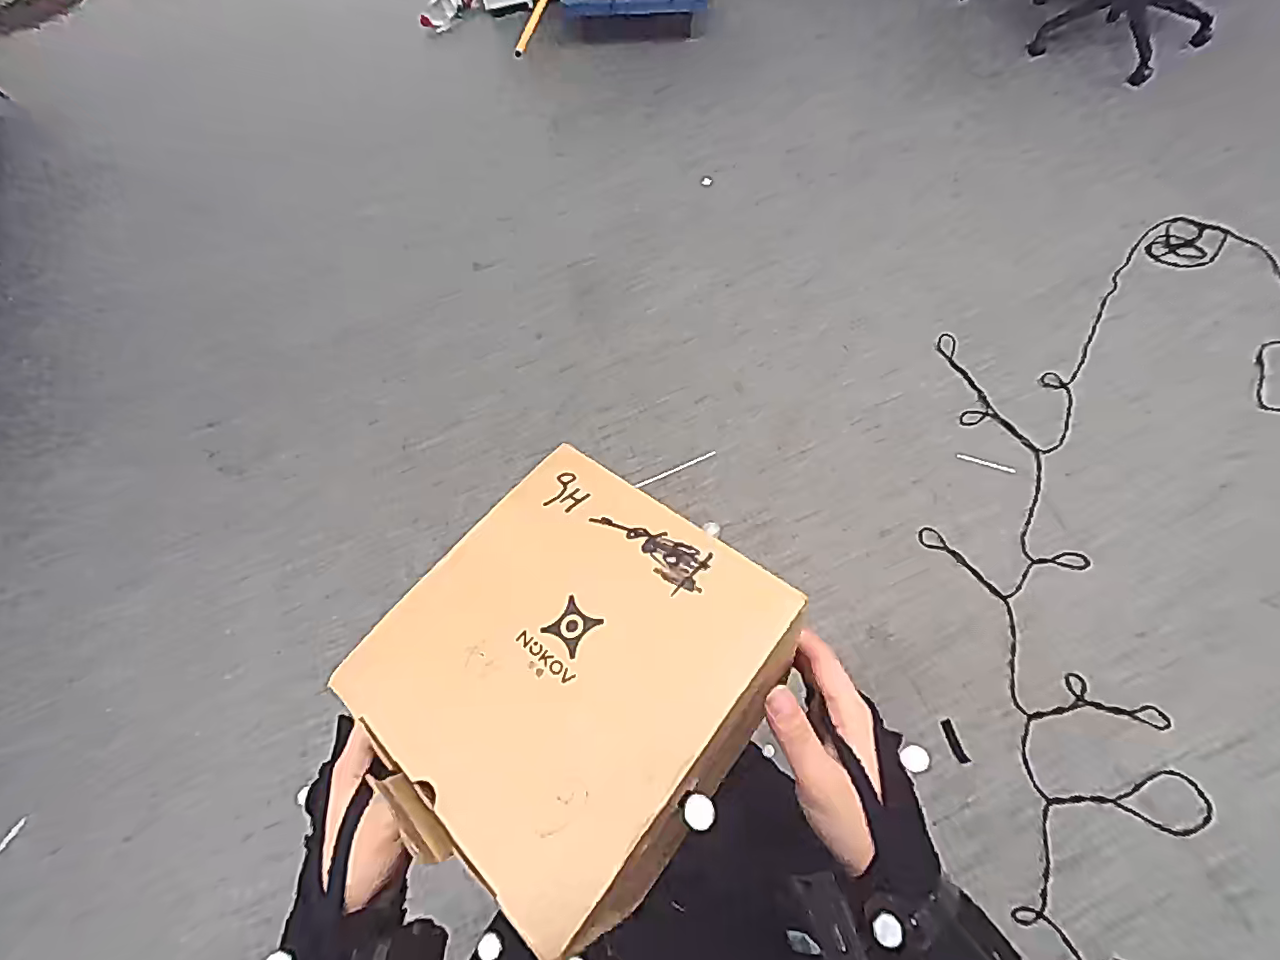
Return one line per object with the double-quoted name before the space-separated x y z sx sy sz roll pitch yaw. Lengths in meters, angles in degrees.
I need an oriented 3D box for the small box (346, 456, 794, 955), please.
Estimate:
"small box" -0.023 0.125 0.332 0.168 0.176 0.179 32 69 27
